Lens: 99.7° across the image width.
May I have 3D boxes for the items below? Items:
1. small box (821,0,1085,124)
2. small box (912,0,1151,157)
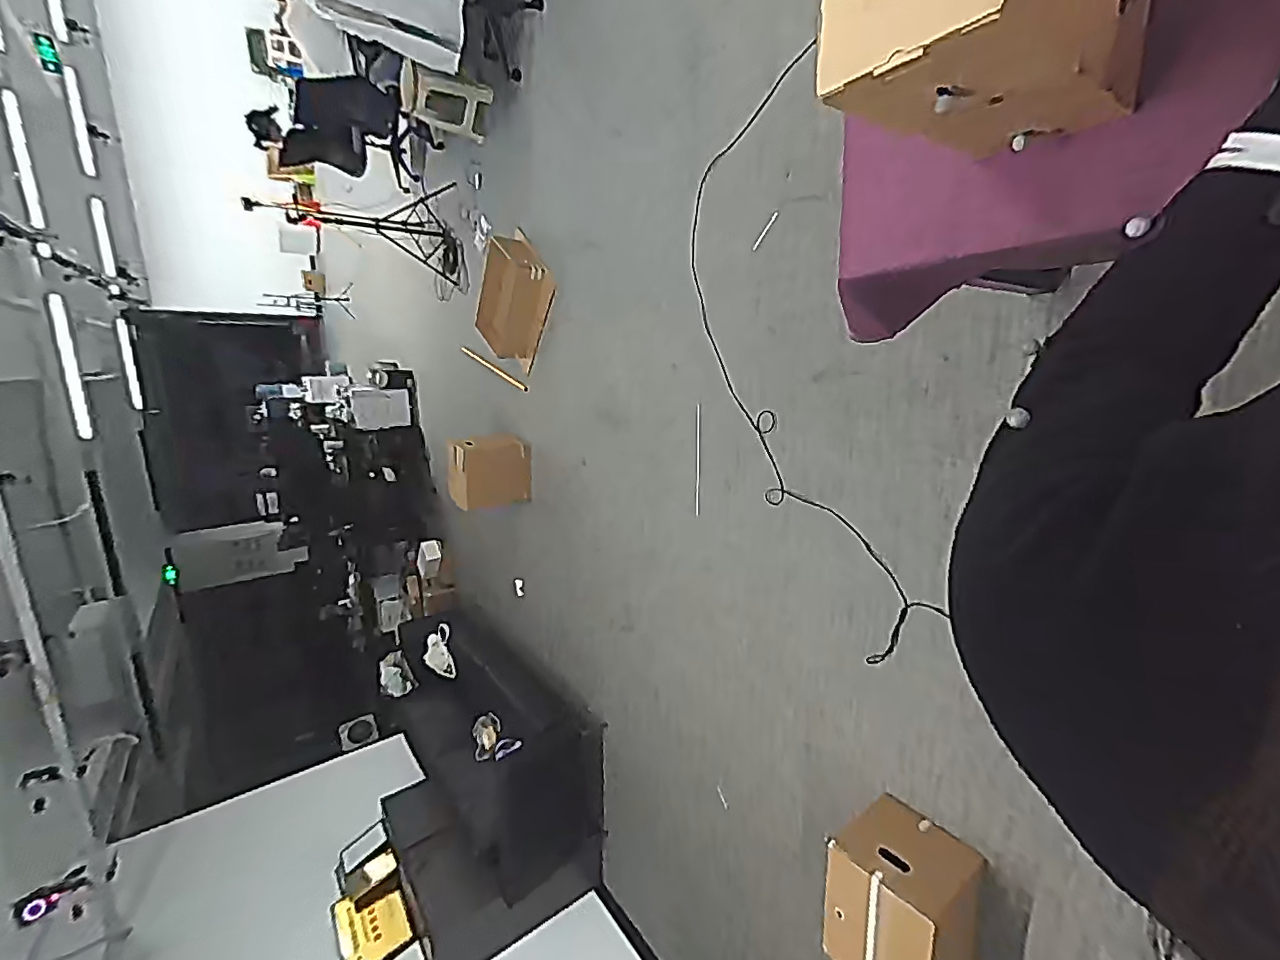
[{"bbox_3d":[0.290,-0.457,0.498,0.168,0.176,0.179,15,111,51],"label":"small box"},{"bbox_3d":[0.424,-0.486,0.589,0.168,0.176,0.179,15,110,52],"label":"small box"}]
